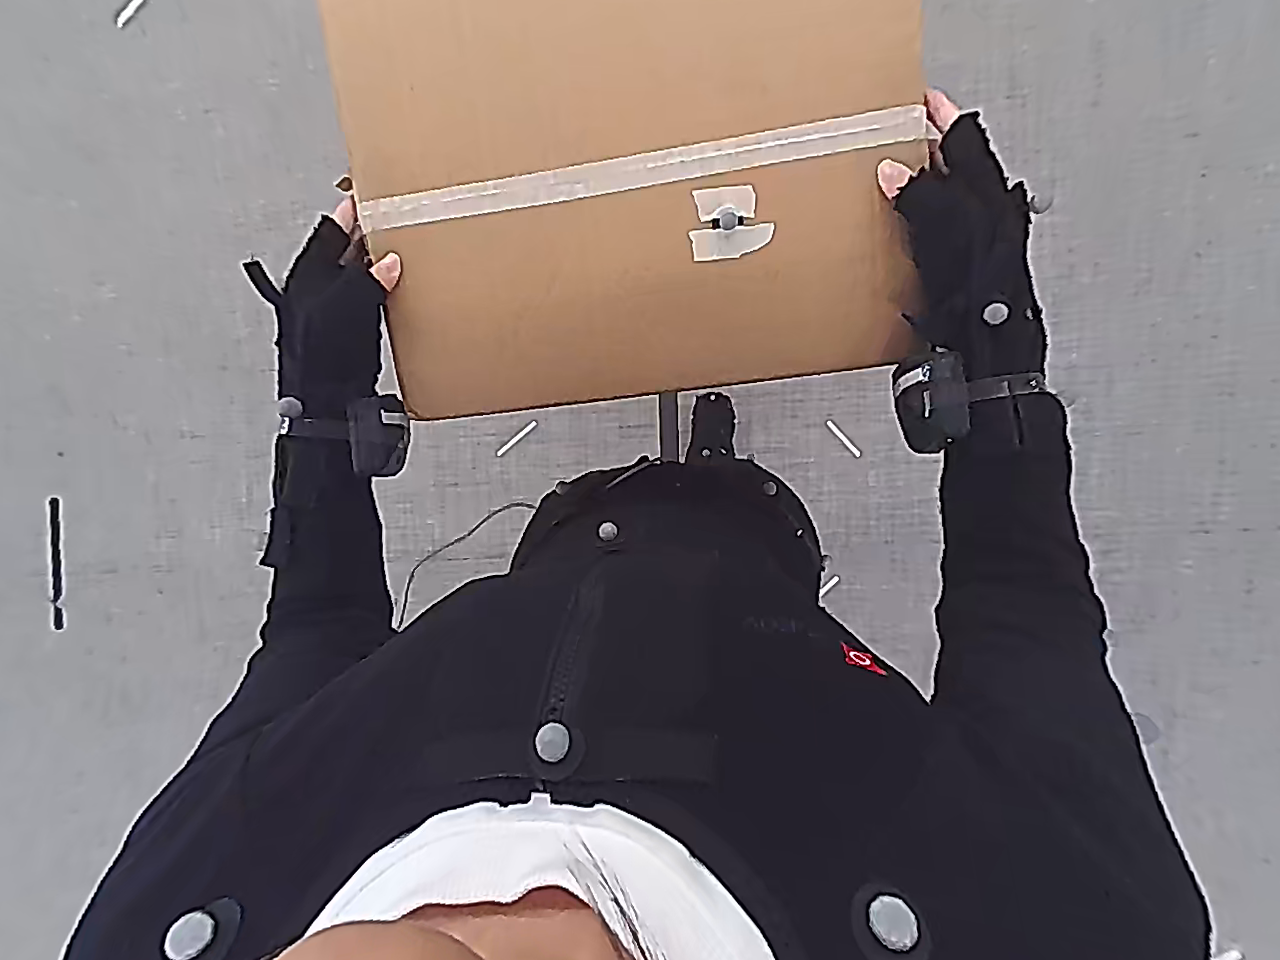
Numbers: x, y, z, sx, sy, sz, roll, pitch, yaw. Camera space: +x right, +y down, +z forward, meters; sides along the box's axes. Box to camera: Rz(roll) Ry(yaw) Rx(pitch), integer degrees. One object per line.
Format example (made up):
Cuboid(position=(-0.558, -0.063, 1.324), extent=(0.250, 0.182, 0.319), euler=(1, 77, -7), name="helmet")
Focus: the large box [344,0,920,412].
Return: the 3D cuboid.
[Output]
Cuboid(position=(0.007, -0.258, 0.547), extent=(0.408, 0.320, 0.320), euler=(-6, 102, 6), name="large box")
